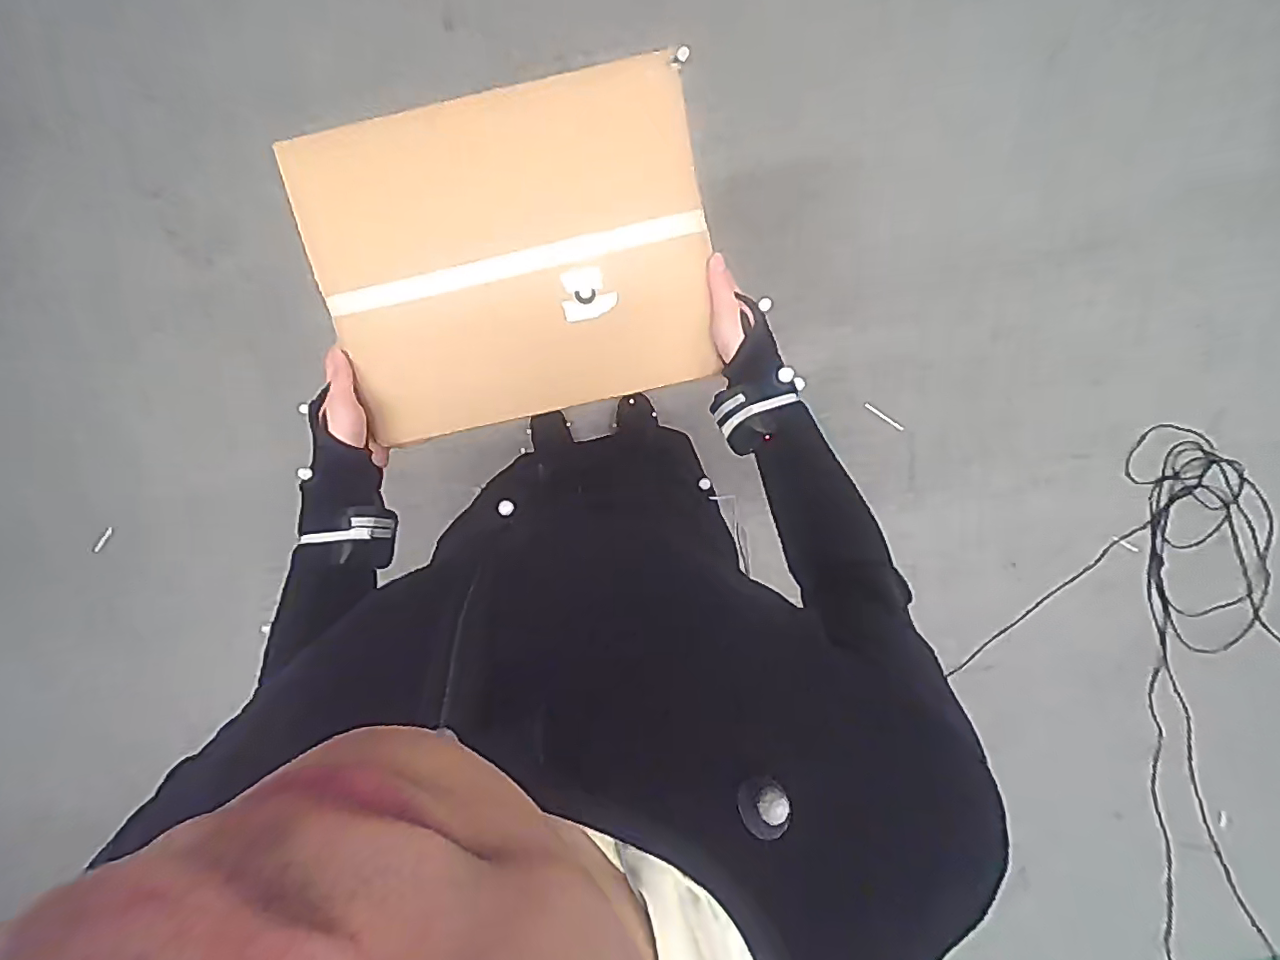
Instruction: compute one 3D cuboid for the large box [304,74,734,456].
[{"bbox_3d":[-0.124,-0.248,0.721,0.408,0.320,0.320,-12,104,1],"label":"large box"}]
